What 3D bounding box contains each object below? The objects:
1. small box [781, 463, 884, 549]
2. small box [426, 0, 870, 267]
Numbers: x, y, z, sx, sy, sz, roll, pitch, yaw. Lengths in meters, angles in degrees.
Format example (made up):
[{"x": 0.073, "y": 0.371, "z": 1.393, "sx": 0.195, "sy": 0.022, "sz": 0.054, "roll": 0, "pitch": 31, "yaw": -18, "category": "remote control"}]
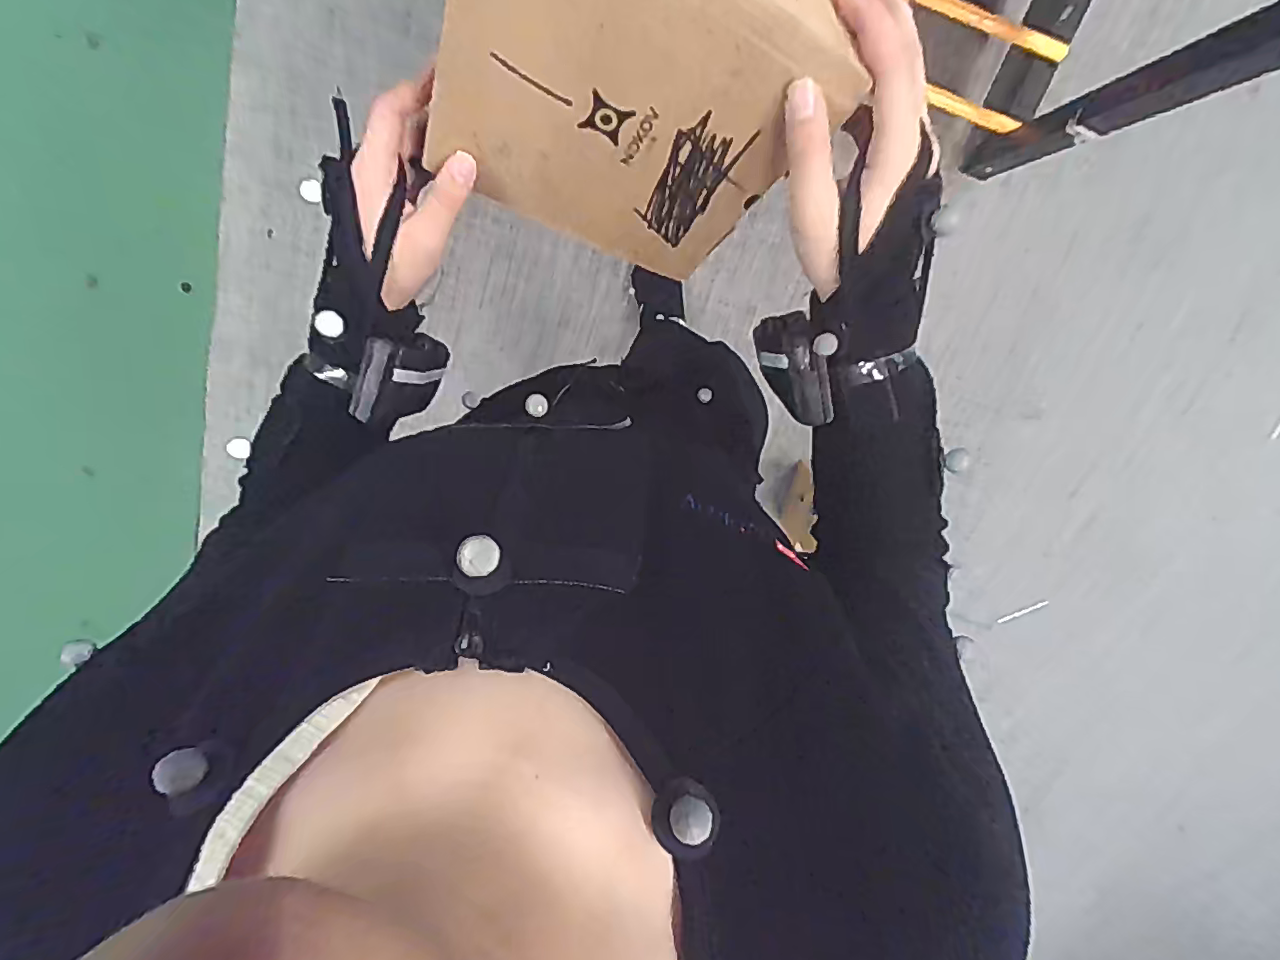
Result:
[{"x": 0.459, "y": 0.071, "z": 1.320, "sx": 0.168, "sy": 0.176, "sz": 0.179, "roll": 13, "pitch": 107, "yaw": -3, "category": "small box"}, {"x": 0.001, "y": -0.259, "z": 0.294, "sx": 0.179, "sy": 0.168, "sz": 0.176, "roll": 15, "pitch": 71, "yaw": -24, "category": "small box"}]
